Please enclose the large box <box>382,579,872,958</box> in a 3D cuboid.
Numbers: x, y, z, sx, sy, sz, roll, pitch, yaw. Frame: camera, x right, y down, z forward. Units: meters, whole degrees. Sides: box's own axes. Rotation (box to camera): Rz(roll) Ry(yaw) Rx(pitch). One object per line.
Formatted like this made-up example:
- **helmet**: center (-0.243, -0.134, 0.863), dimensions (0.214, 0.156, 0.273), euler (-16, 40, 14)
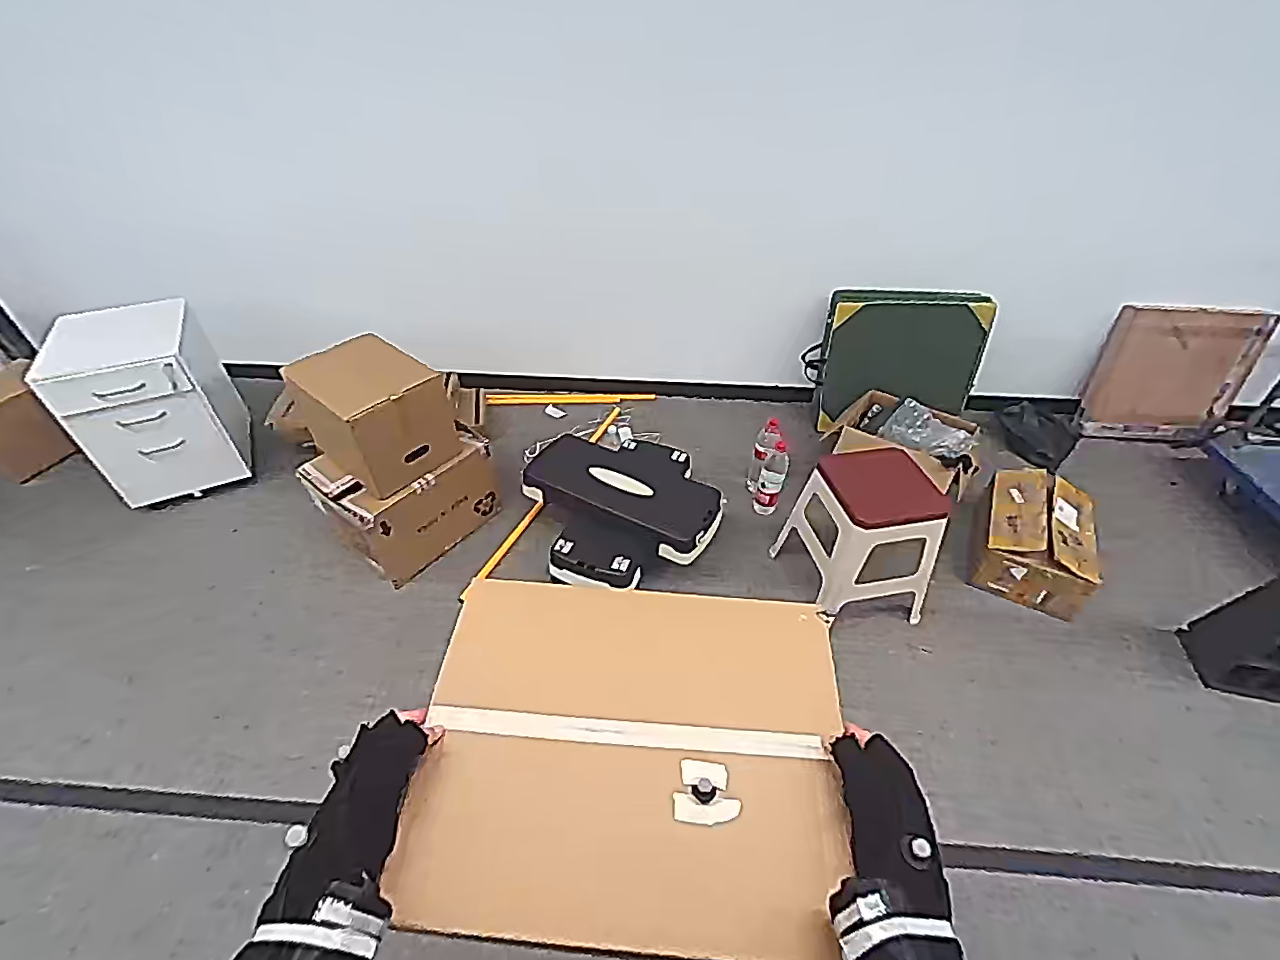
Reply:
- **large box**: center (-0.008, 0.341, 0.639), dimensions (0.408, 0.320, 0.320), euler (4, 48, 2)
